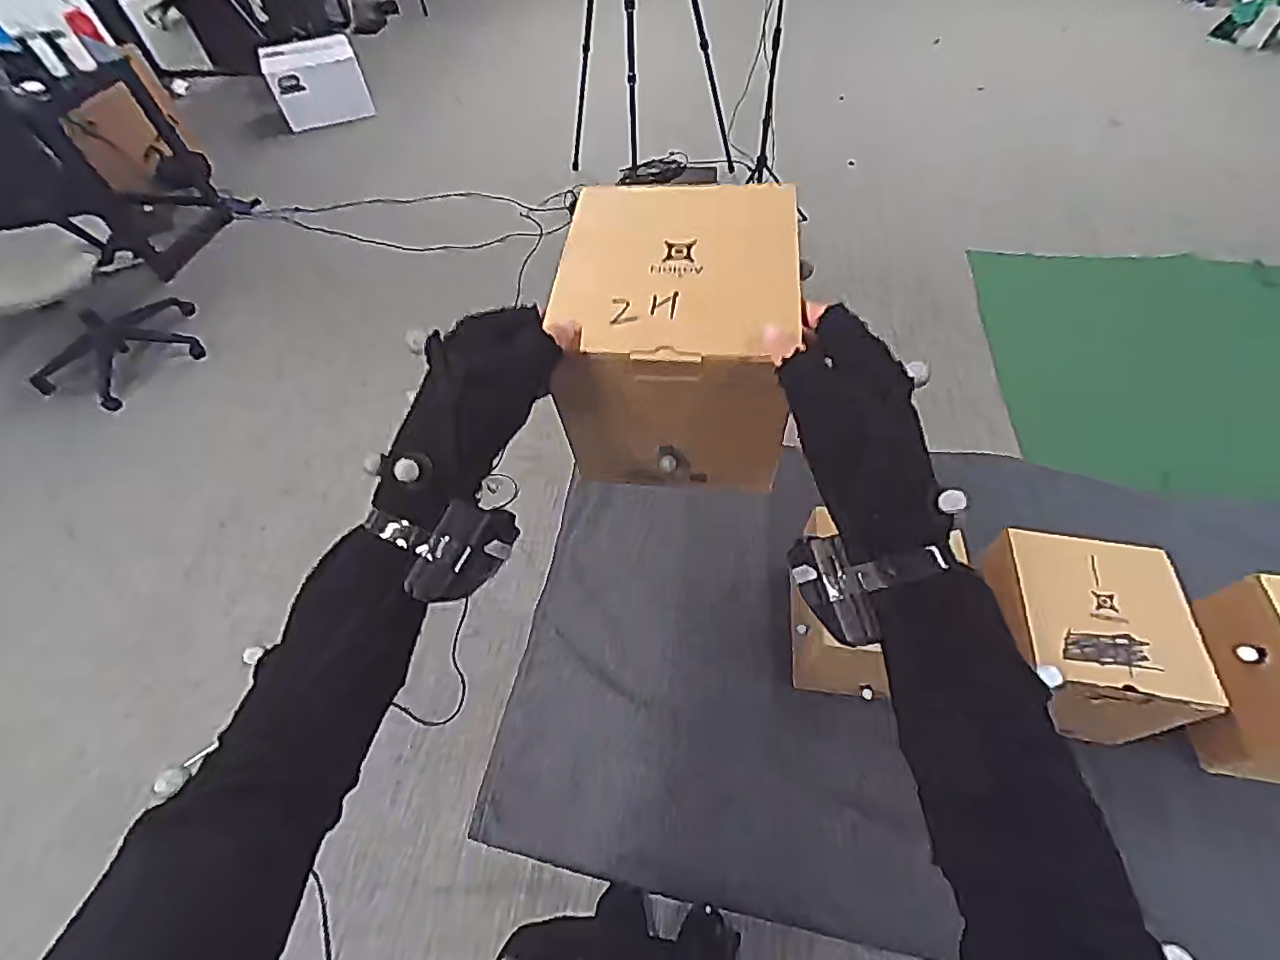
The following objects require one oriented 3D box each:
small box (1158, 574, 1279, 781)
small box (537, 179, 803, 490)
[{"bbox_3d":[0.729,0.225,0.581,0.168,0.176,0.179,6,54,9],"label":"small box"},{"bbox_3d":[0.032,-0.112,0.435,0.168,0.176,0.179,3,61,8],"label":"small box"}]
